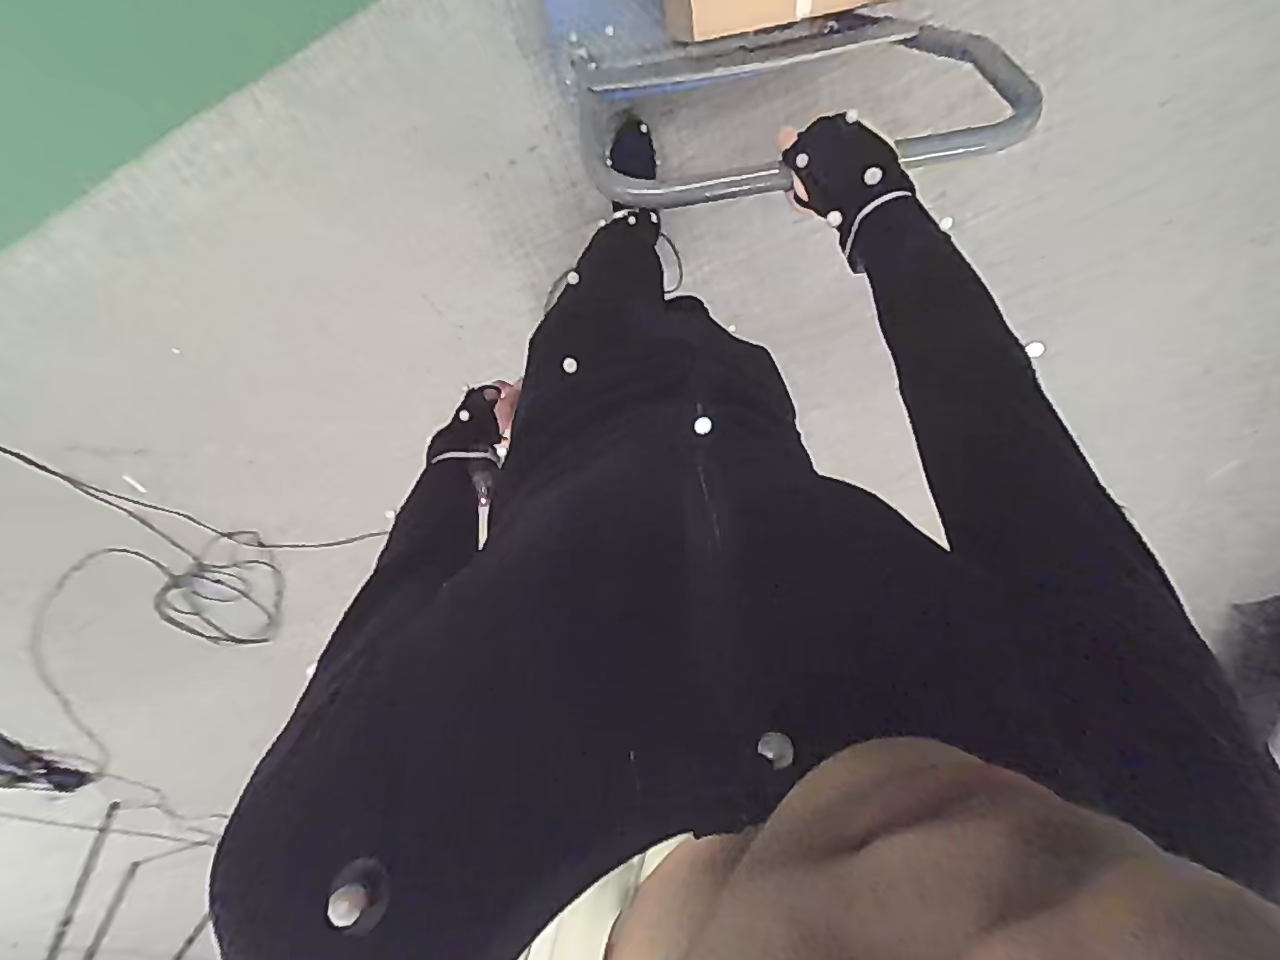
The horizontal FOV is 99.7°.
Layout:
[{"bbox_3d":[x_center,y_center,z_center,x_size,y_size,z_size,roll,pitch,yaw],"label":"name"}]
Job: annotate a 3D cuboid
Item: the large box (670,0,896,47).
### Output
[{"bbox_3d":[0.190,-0.910,0.779,0.320,0.320,0.408,-10,130,2],"label":"large box"}]
